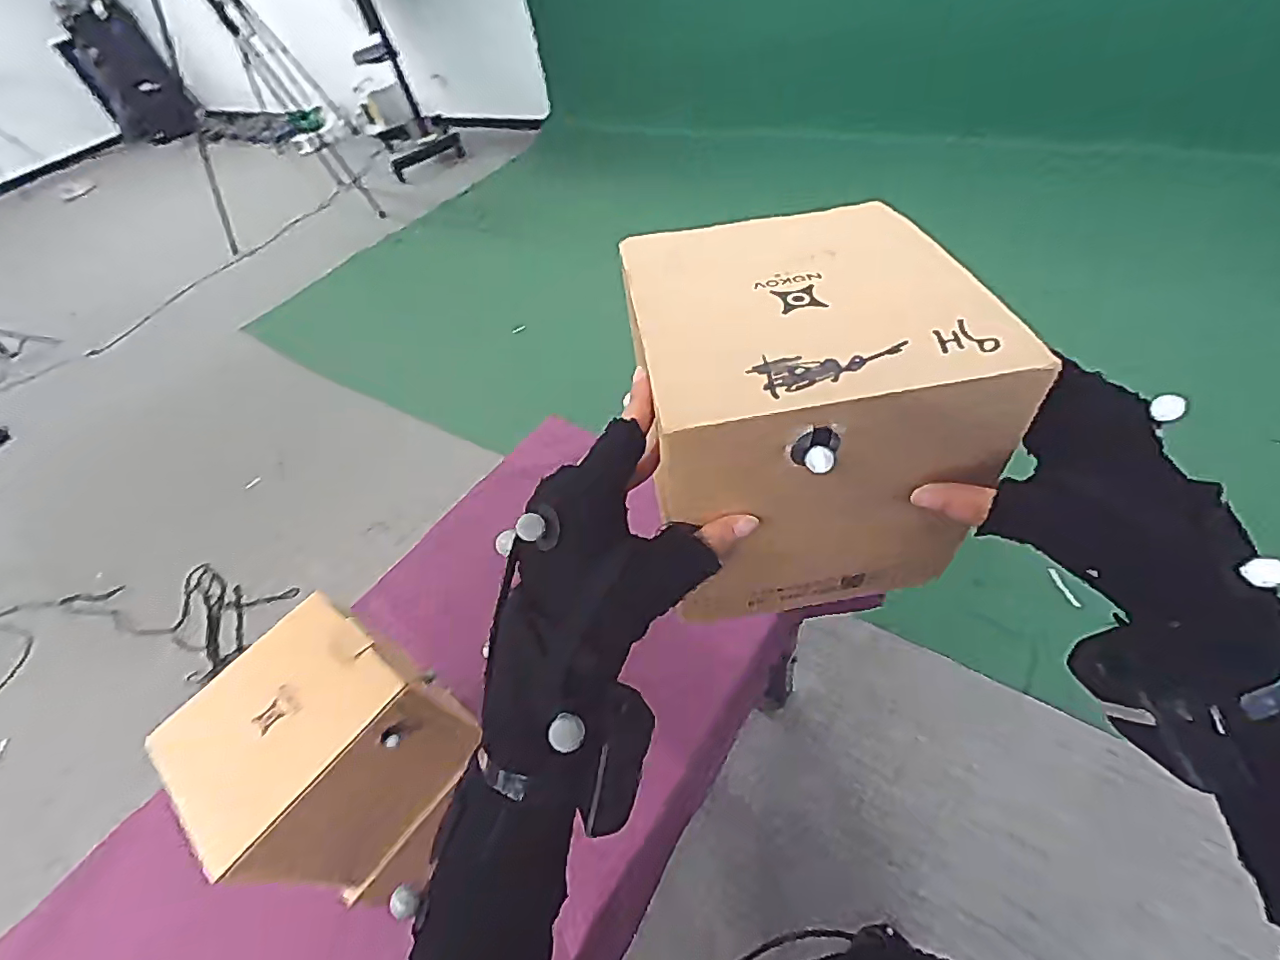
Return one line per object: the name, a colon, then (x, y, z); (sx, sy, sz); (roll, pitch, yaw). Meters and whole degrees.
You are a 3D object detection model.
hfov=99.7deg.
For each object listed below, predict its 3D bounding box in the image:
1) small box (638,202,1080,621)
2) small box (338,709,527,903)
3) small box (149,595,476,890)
small box: (0.094, -0.040, 0.329); (0.168, 0.176, 0.179); (-9, 47, 1)
small box: (-0.267, 0.359, 0.636); (0.179, 0.176, 0.168); (28, 63, 30)
small box: (-0.293, 0.252, 0.518); (0.168, 0.176, 0.179); (26, 61, 30)
